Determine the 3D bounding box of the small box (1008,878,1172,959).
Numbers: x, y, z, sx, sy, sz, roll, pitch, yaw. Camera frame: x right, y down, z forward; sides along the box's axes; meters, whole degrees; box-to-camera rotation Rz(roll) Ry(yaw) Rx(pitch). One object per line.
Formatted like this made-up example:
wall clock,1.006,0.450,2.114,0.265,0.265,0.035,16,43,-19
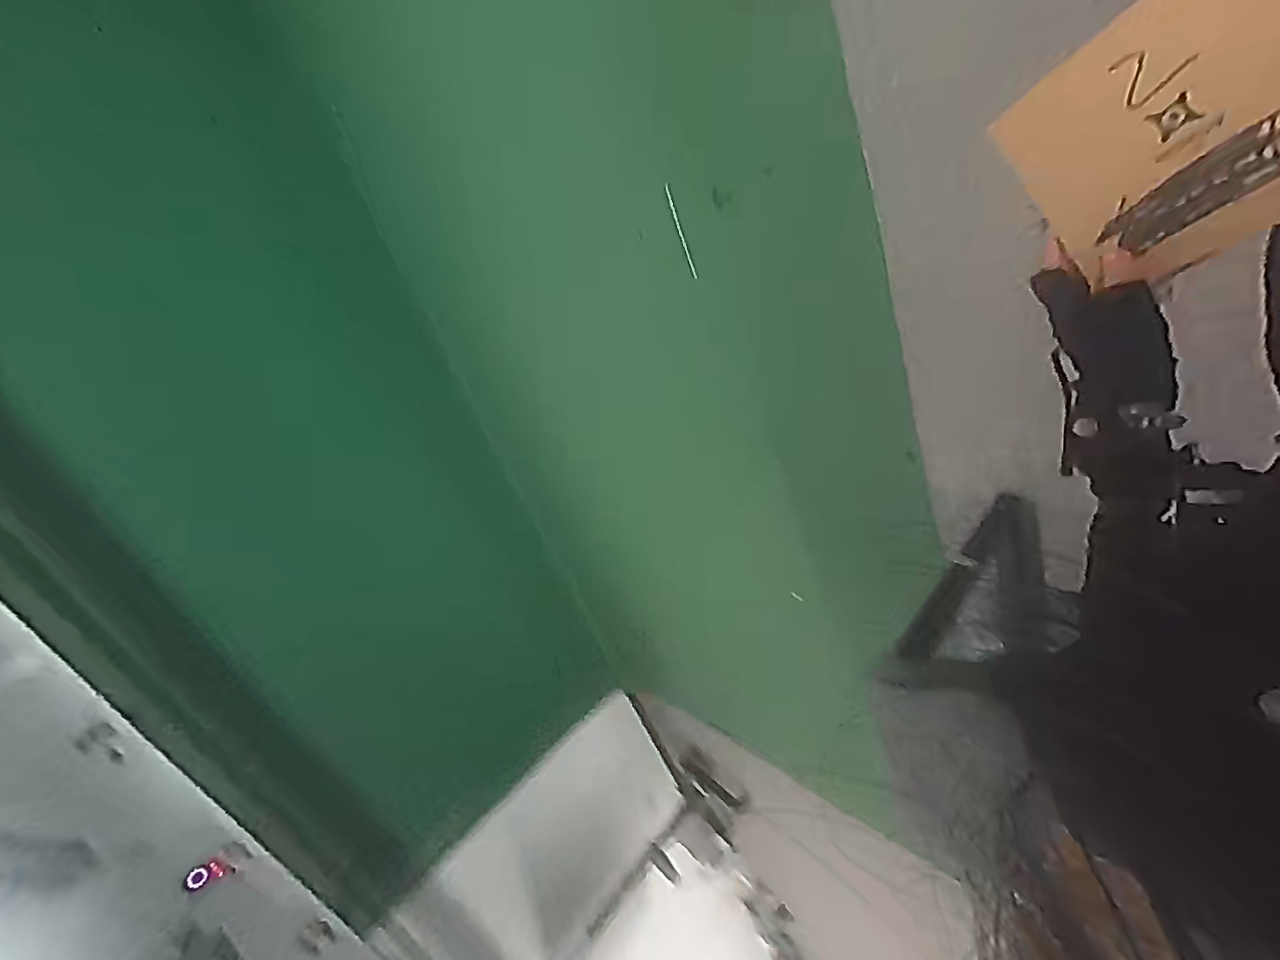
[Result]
small box,0.690,0.771,0.828,0.168,0.176,0.179,3,125,53
